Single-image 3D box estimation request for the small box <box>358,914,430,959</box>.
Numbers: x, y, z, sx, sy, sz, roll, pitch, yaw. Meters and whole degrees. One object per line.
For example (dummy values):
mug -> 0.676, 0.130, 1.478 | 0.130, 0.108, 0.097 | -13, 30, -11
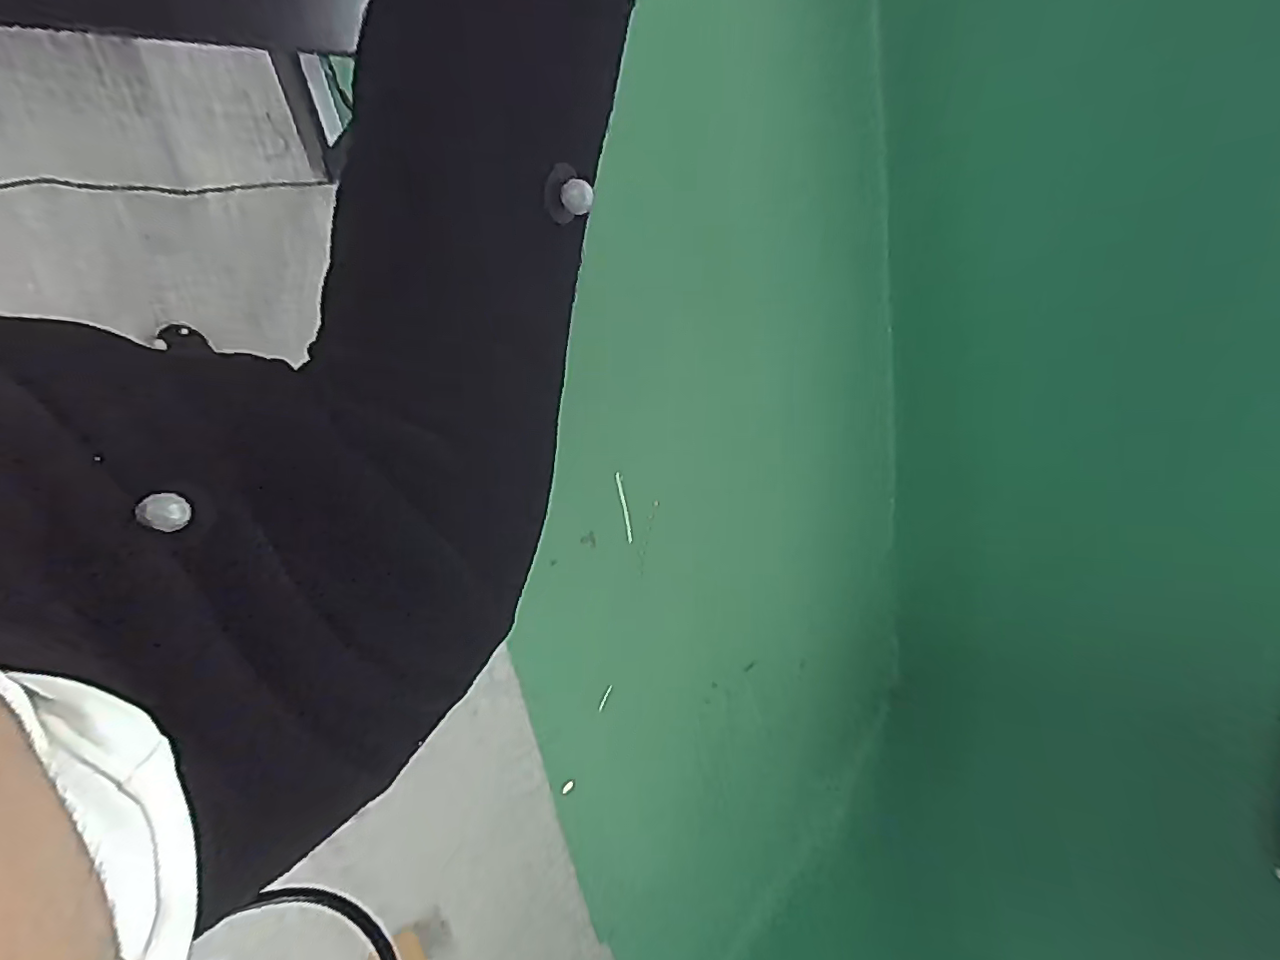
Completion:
small box -> -0.795, 1.579, 1.766 | 0.168, 0.176, 0.179 | -24, 114, -36
